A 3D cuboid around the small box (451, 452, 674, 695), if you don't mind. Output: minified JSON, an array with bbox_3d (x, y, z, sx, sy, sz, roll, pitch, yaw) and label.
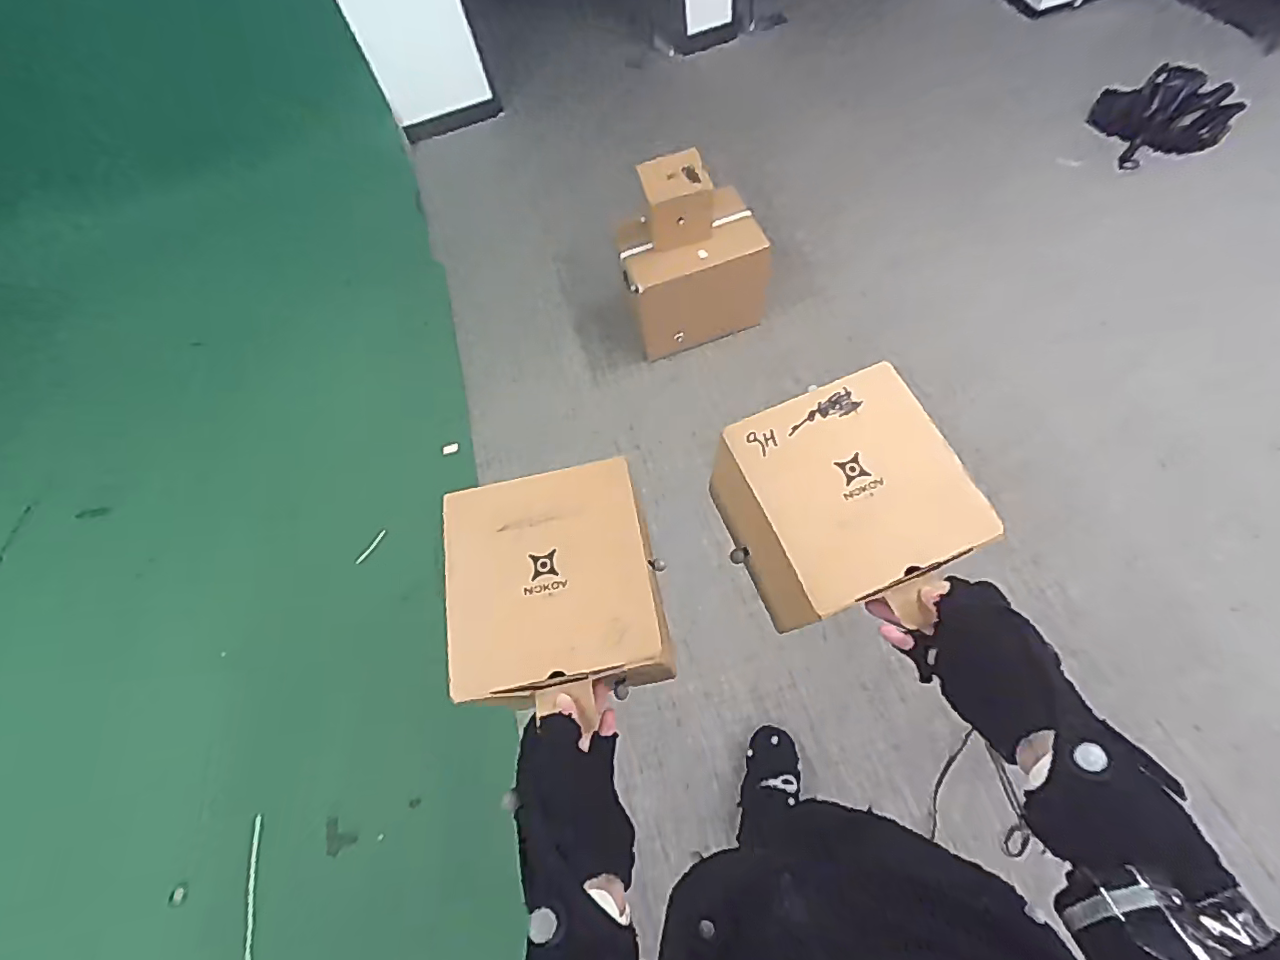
[{"bbox_3d":[-0.065,0.101,0.518,0.168,0.176,0.179,-13,64,0],"label":"small box"}]

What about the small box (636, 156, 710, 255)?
[{"bbox_3d":[0.094,-0.774,1.535,0.179,0.176,0.168,-13,65,1],"label":"small box"}]
